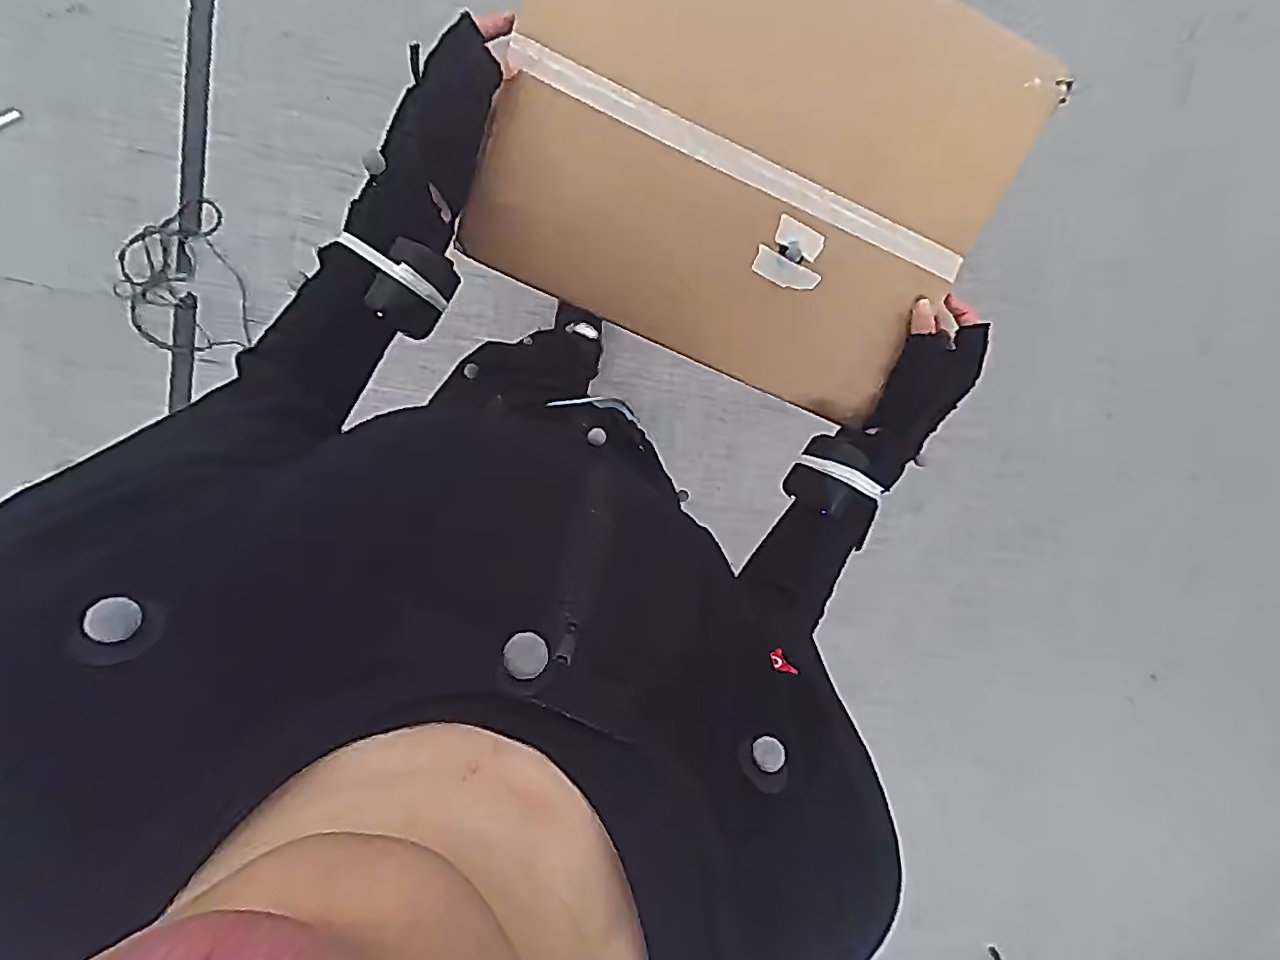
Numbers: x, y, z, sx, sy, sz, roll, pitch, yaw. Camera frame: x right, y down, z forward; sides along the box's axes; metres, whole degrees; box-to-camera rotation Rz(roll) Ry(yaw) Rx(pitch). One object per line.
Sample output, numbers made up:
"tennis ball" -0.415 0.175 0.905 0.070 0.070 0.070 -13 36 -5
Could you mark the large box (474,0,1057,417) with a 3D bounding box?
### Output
"large box" 0.092 -0.314 0.591 0.408 0.320 0.320 23 110 -8
